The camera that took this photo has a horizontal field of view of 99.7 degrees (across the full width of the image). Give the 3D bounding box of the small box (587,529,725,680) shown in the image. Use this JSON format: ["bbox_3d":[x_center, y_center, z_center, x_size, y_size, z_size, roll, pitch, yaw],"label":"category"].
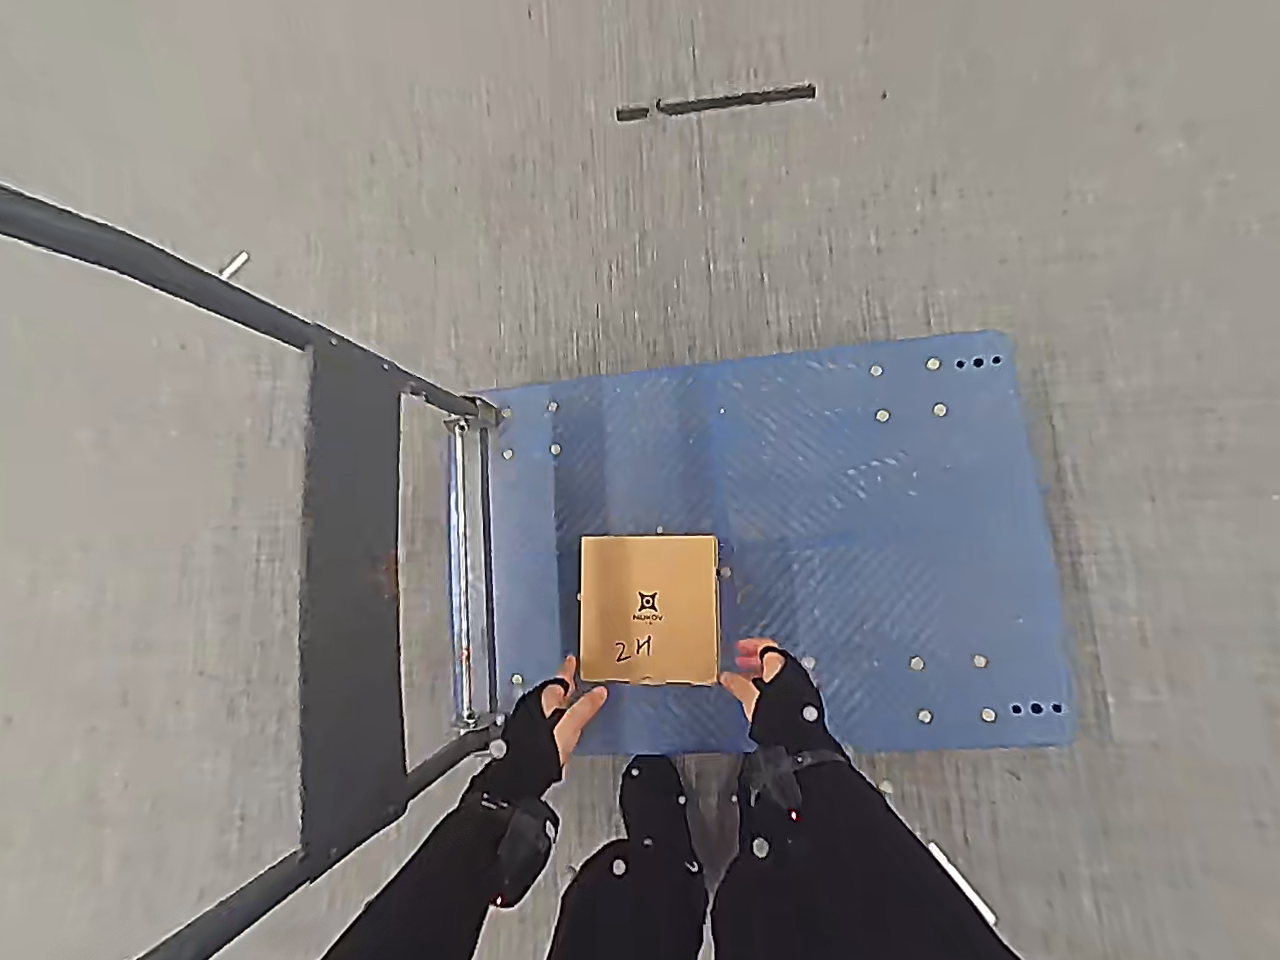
[{"bbox_3d":[0.029,0.159,0.729,0.168,0.176,0.179,-2,82,9],"label":"small box"}]
